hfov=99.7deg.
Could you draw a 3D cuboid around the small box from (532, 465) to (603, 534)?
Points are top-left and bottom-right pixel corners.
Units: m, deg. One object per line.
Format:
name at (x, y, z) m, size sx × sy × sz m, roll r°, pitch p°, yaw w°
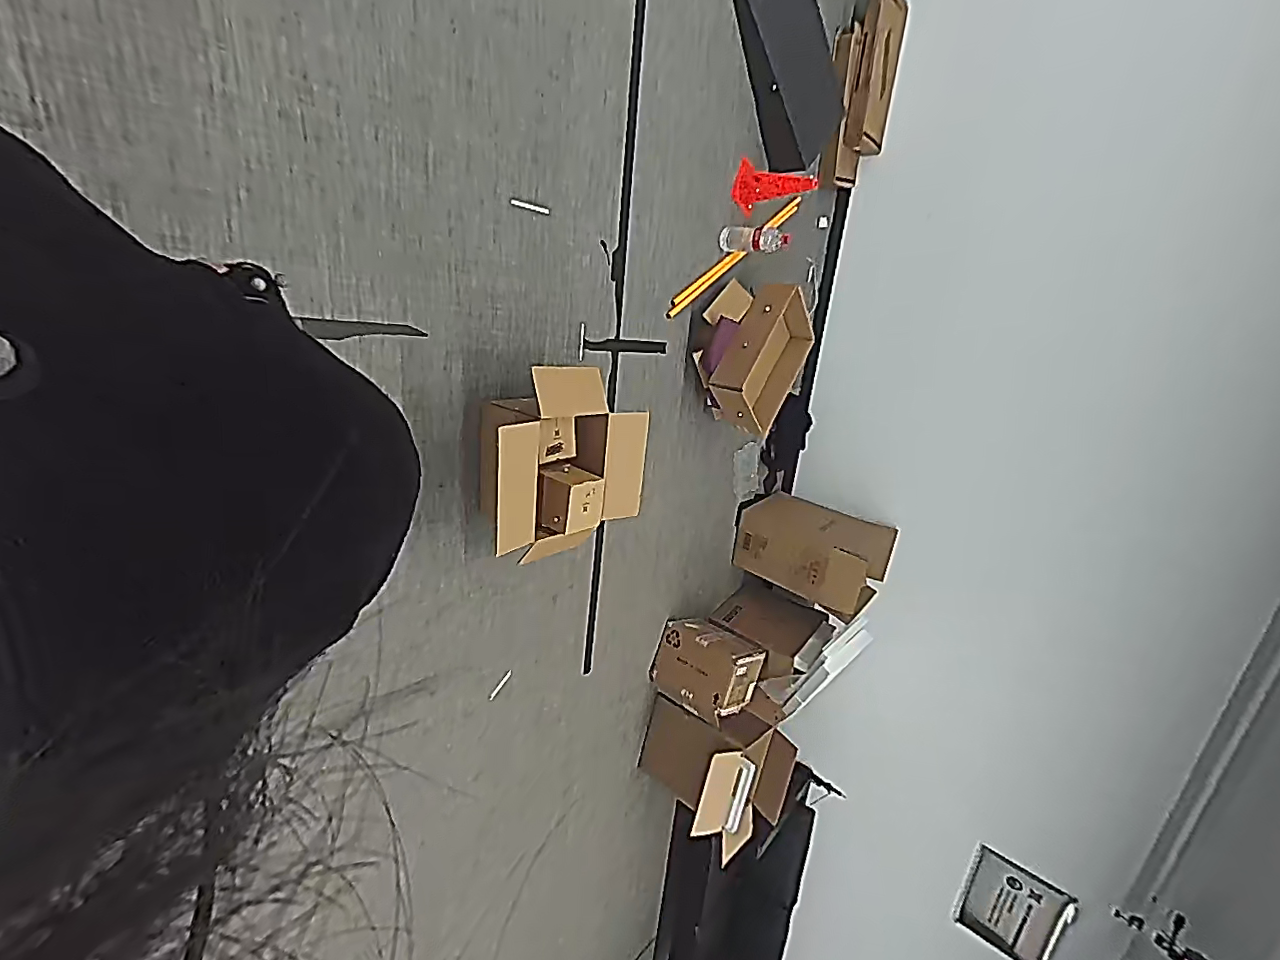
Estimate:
small box at (-0.249, 0.062, 1.839) m, size 0.168 × 0.176 × 0.179 m, roll -13°, pitch 116°, yaw -51°
